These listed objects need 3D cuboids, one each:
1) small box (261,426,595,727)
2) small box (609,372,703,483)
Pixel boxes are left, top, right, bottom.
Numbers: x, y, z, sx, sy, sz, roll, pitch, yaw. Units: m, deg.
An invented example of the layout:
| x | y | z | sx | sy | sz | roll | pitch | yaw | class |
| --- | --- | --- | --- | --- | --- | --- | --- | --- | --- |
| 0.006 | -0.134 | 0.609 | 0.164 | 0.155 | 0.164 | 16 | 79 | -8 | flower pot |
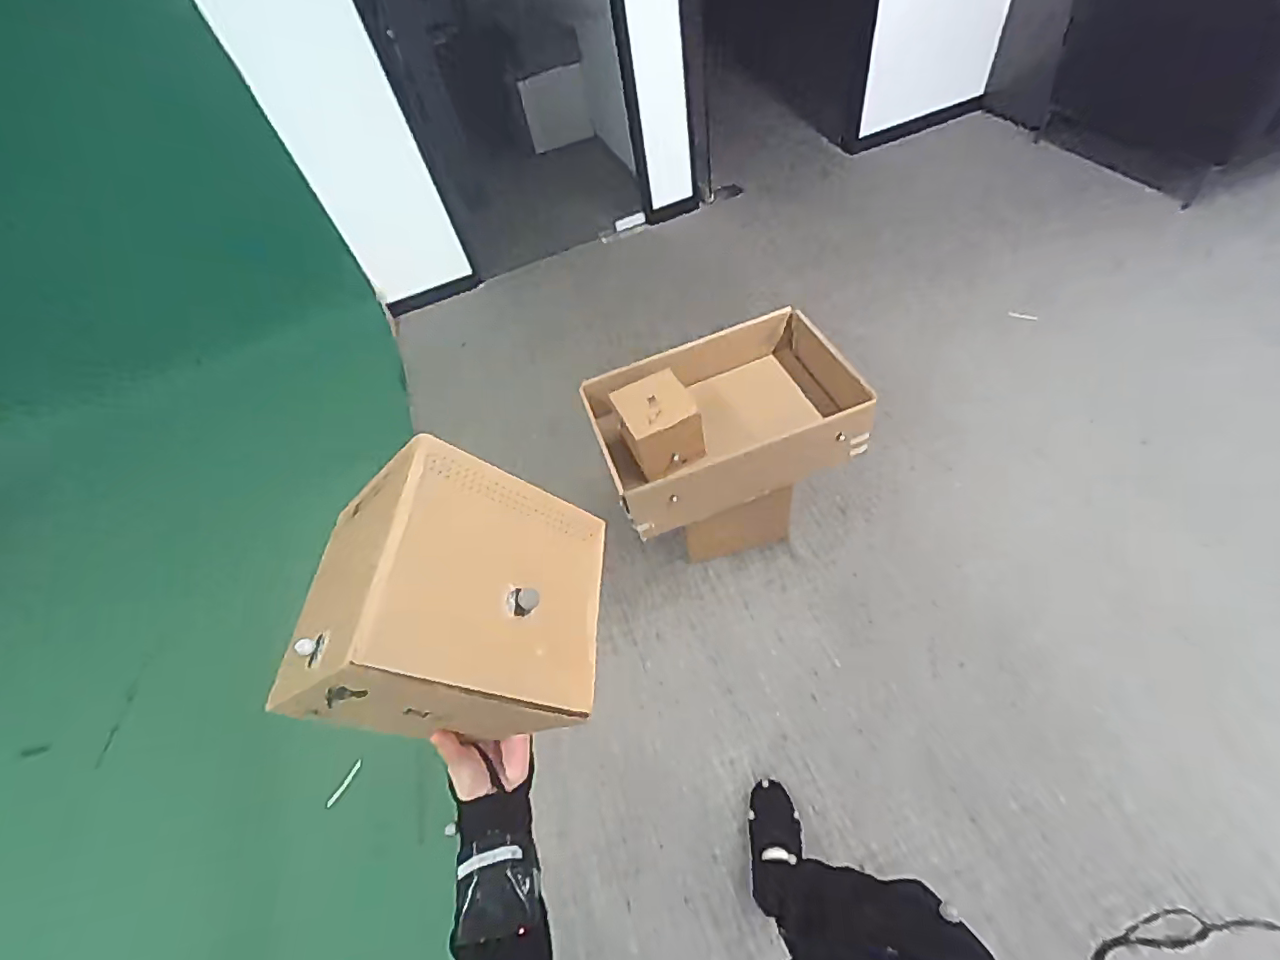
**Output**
| x | y | z | sx | sy | sz | roll | pitch | yaw | class |
| --- | --- | --- | --- | --- | --- | --- | --- | --- | --- |
| -0.151 | 0.086 | 0.430 | 0.168 | 0.179 | 0.176 | -30 | 44 | 36 | small box |
| 0.041 | -0.126 | 1.323 | 0.168 | 0.176 | 0.179 | -25 | 53 | -6 | small box |
